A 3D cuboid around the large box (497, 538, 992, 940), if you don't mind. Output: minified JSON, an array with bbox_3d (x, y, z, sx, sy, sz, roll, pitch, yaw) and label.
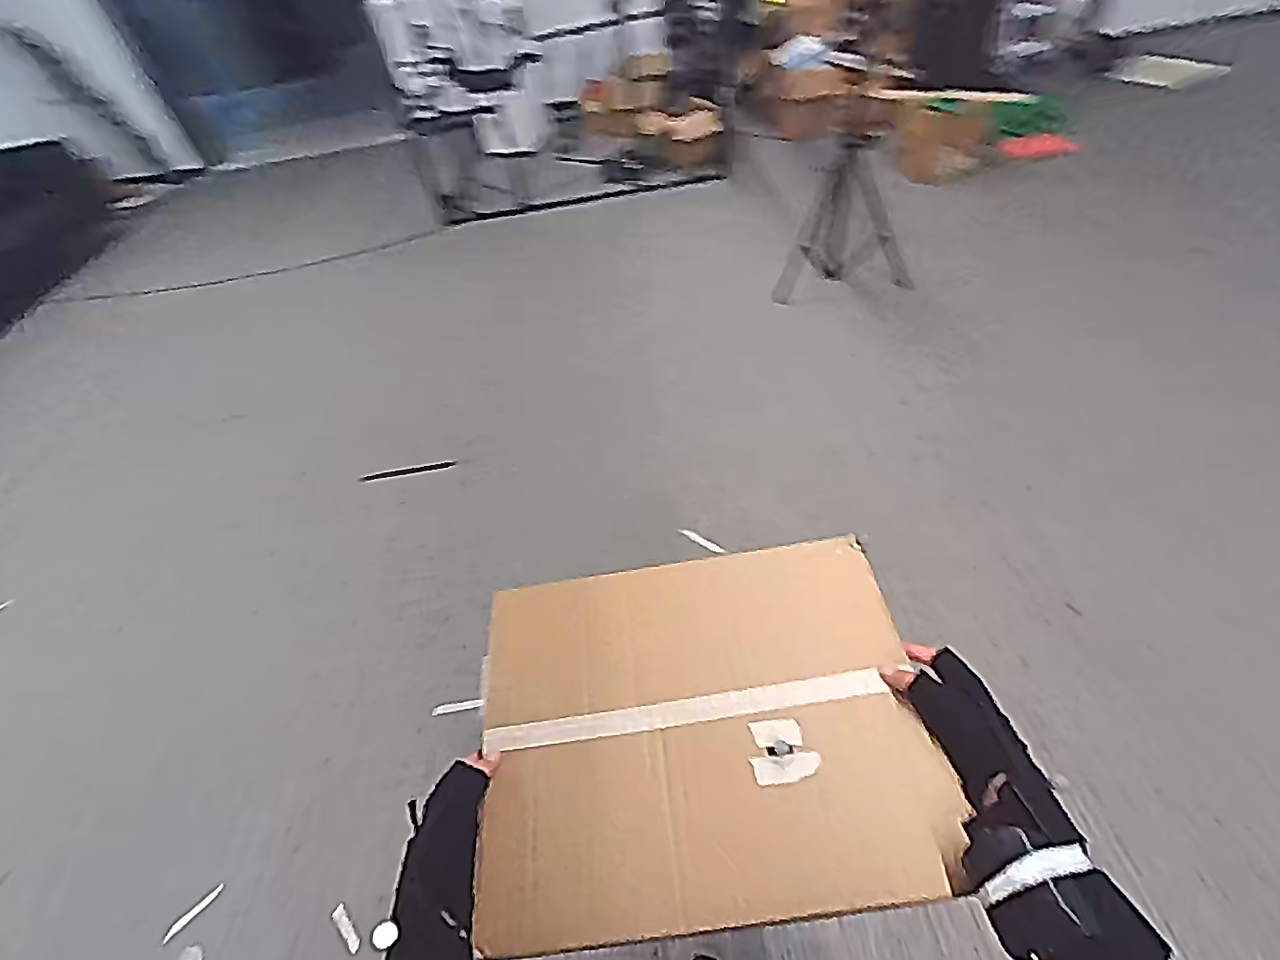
[{"bbox_3d":[0.081,0.305,0.630,0.408,0.320,0.320,-9,52,2],"label":"large box"}]
